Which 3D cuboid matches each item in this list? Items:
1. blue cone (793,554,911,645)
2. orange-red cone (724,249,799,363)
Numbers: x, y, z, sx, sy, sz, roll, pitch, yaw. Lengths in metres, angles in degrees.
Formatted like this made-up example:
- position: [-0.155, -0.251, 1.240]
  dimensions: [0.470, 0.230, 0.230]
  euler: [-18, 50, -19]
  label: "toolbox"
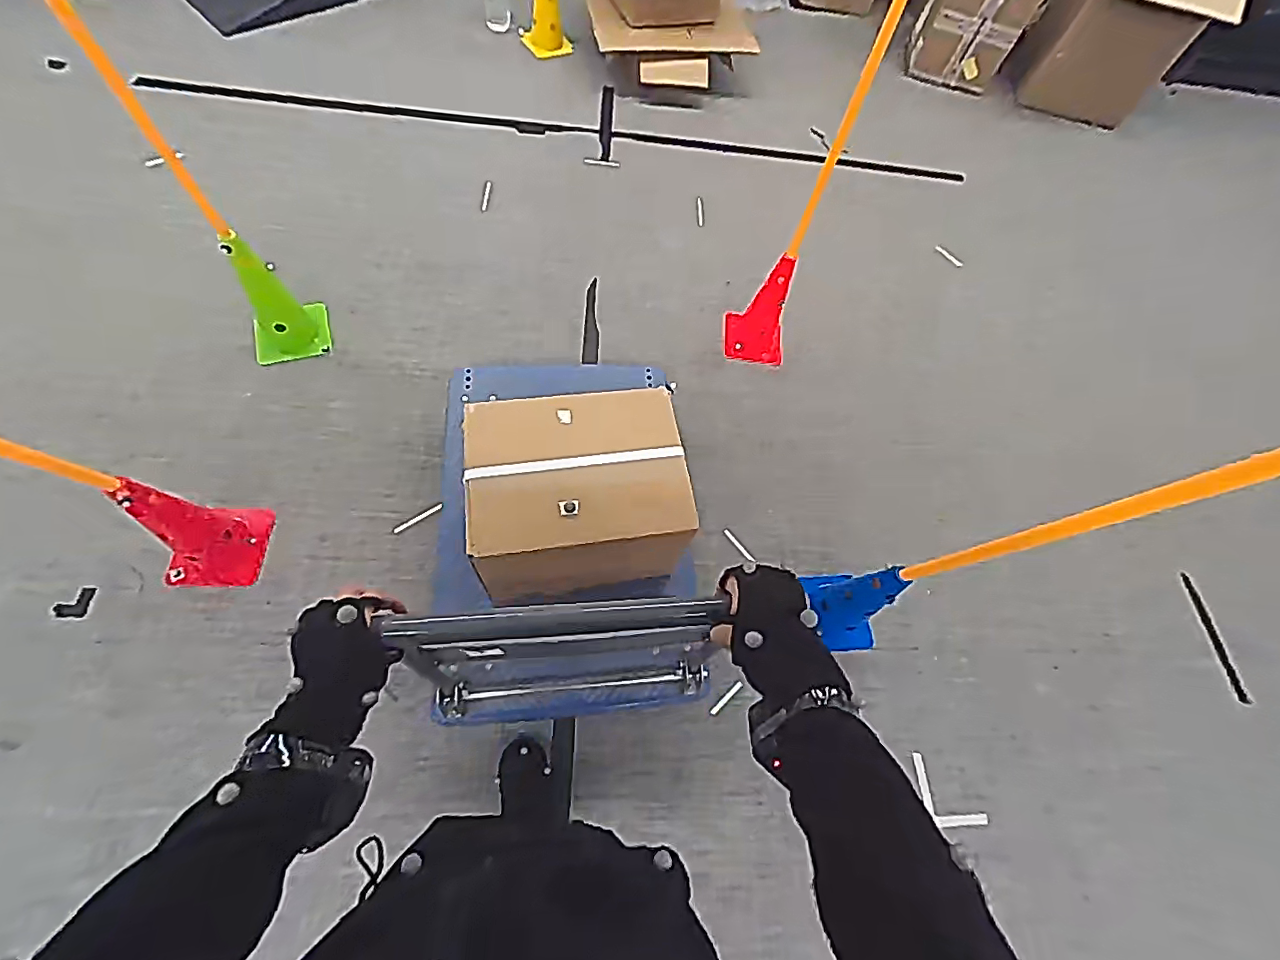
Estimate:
- position: [0.532, 0.266, 1.293]
  dimensions: [0.193, 0.380, 0.192]
  euler: [0, 63, -8]
  label: "blue cone"
- position: [0.407, -0.557, 1.663]
  dimensions: [0.199, 0.360, 0.198]
  euler: [9, 64, -4]
  label: "orange-red cone"
